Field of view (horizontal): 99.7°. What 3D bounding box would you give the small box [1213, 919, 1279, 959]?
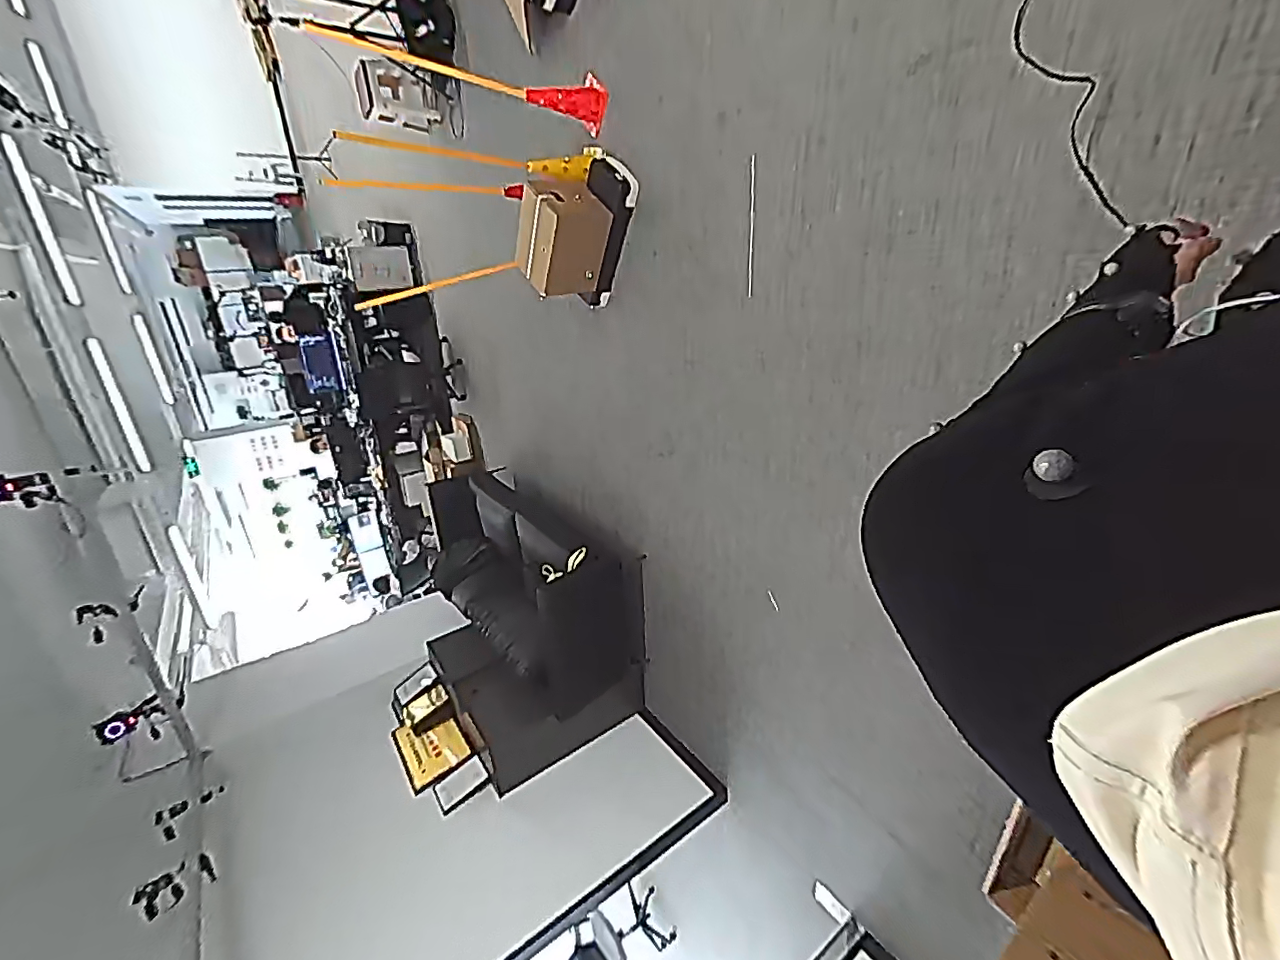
[{"bbox_3d":[1.124,0.934,0.939,0.179,0.176,0.168,29,128,50],"label":"small box"}]
